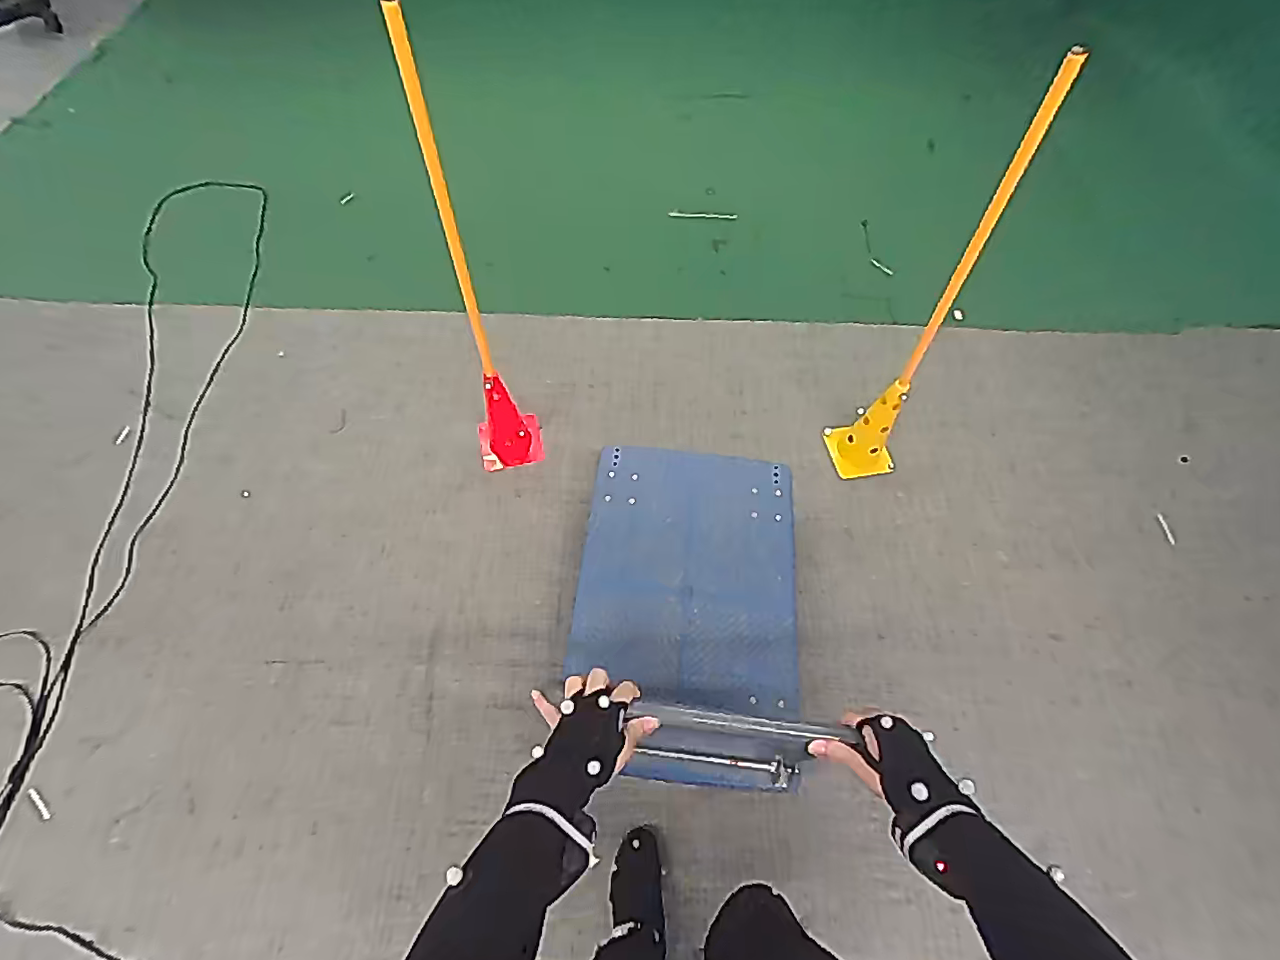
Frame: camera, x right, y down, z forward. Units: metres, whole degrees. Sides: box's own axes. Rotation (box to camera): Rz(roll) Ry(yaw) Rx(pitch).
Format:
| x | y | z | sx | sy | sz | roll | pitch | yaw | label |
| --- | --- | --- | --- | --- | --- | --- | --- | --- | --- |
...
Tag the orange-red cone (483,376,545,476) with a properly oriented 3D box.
| x | y | z | sx | sy | sz | roll | pitch | yaw | label |
| --- | --- | --- | --- | --- | --- | --- | --- | --- | --- |
| -0.428 | -0.192 | 1.685 | 0.199 | 0.360 | 0.198 | -12 | 61 | -7 | orange-red cone |
